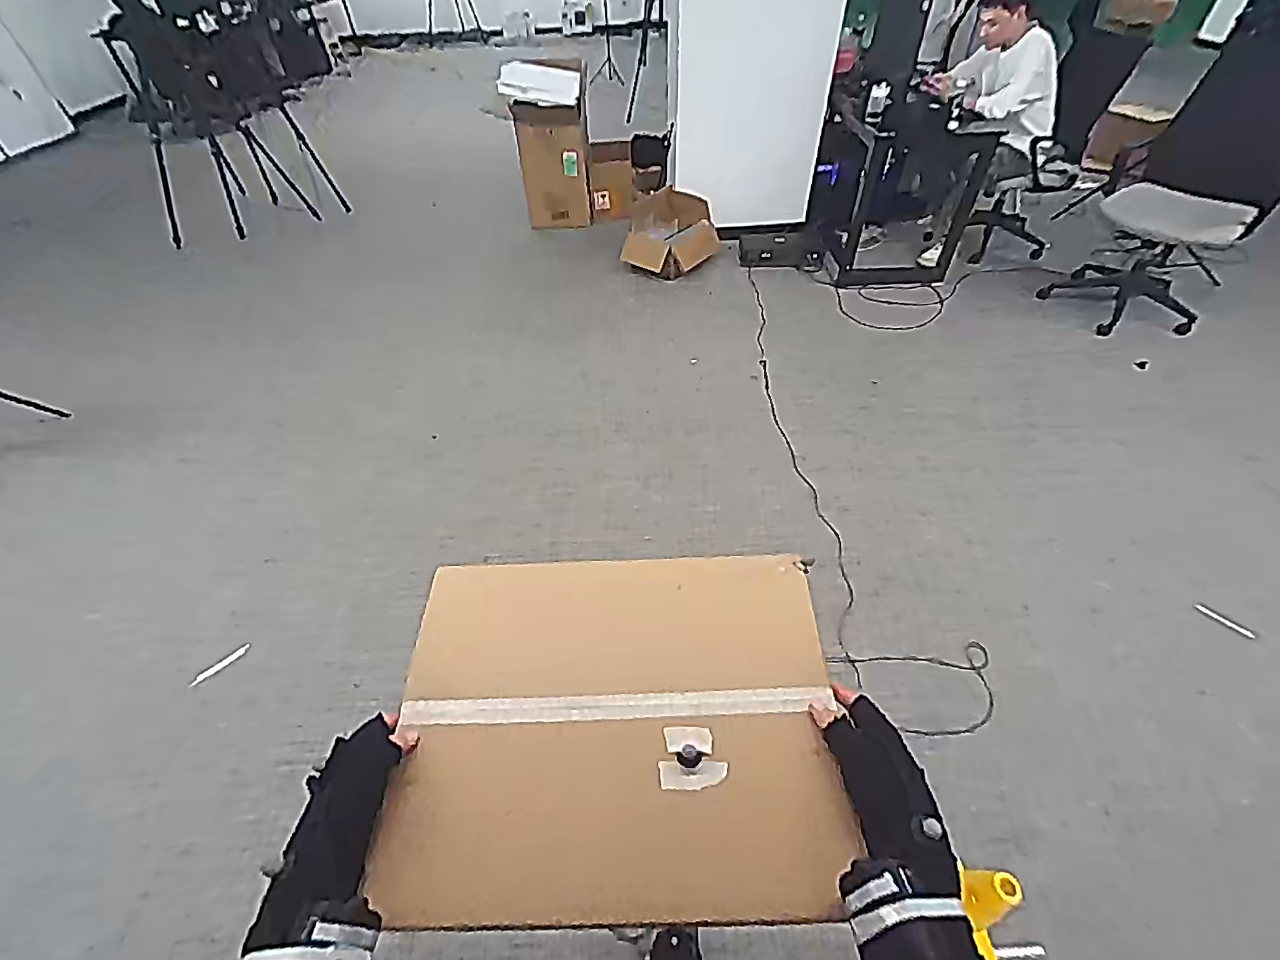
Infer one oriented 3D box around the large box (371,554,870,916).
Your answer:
[{"bbox_3d":[-0.016,0.303,0.630,0.408,0.320,0.320,-2,52,1],"label":"large box"}]
